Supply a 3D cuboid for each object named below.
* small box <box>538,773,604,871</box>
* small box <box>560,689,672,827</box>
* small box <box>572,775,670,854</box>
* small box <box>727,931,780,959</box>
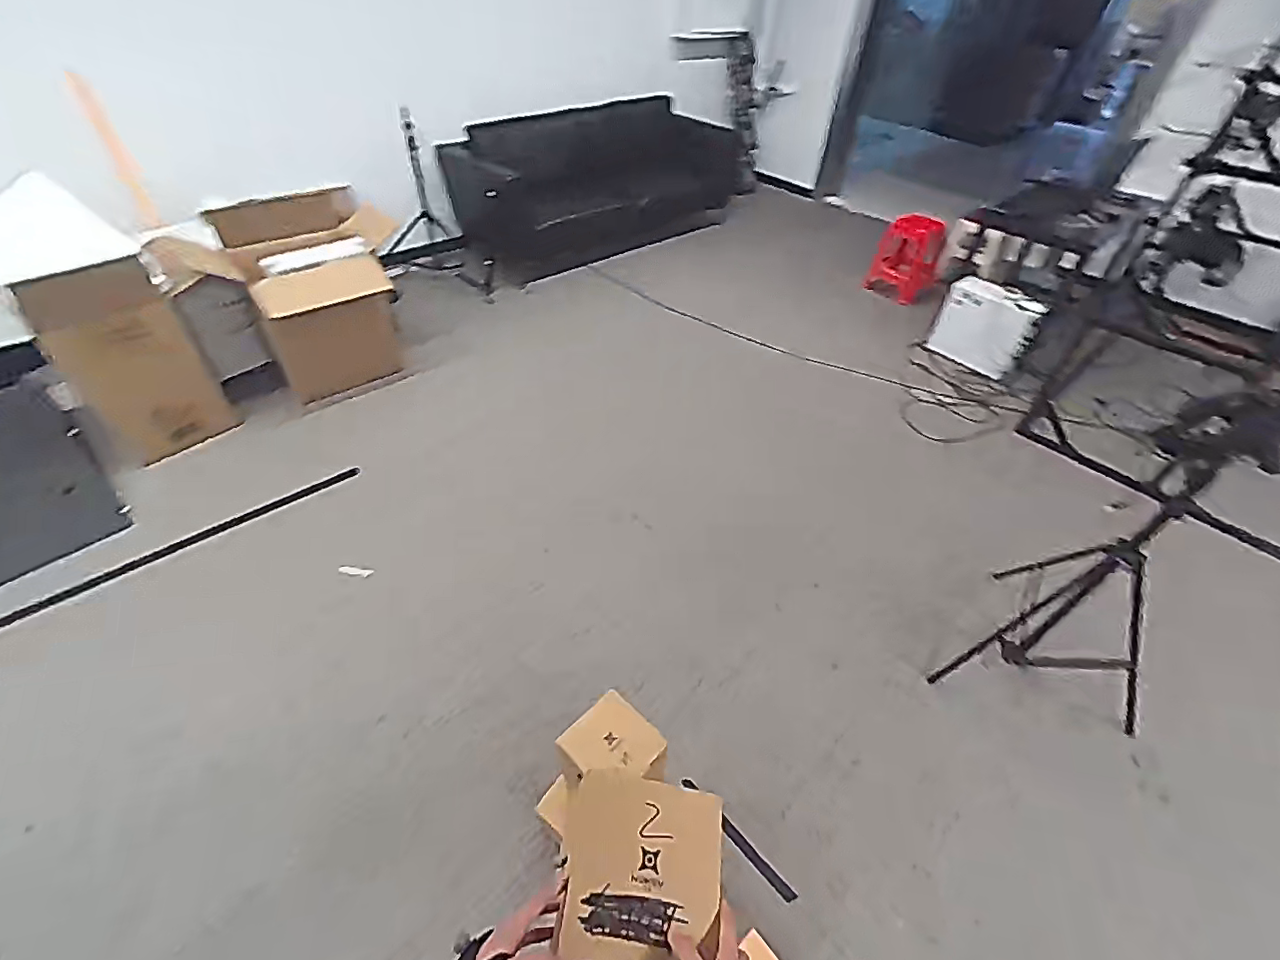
[{"bbox_3d":[-0.137,0.842,1.376,0.168,0.176,0.179,29,49,25],"label":"small box"},{"bbox_3d":[-0.054,0.598,1.162,0.179,0.176,0.168,35,51,30],"label":"small box"},{"bbox_3d":[-0.051,0.726,1.266,0.179,0.176,0.168,-27,50,-28],"label":"small box"},{"bbox_3d":[0.239,1.102,1.127,0.168,0.176,0.179,-29,53,-30],"label":"small box"}]
